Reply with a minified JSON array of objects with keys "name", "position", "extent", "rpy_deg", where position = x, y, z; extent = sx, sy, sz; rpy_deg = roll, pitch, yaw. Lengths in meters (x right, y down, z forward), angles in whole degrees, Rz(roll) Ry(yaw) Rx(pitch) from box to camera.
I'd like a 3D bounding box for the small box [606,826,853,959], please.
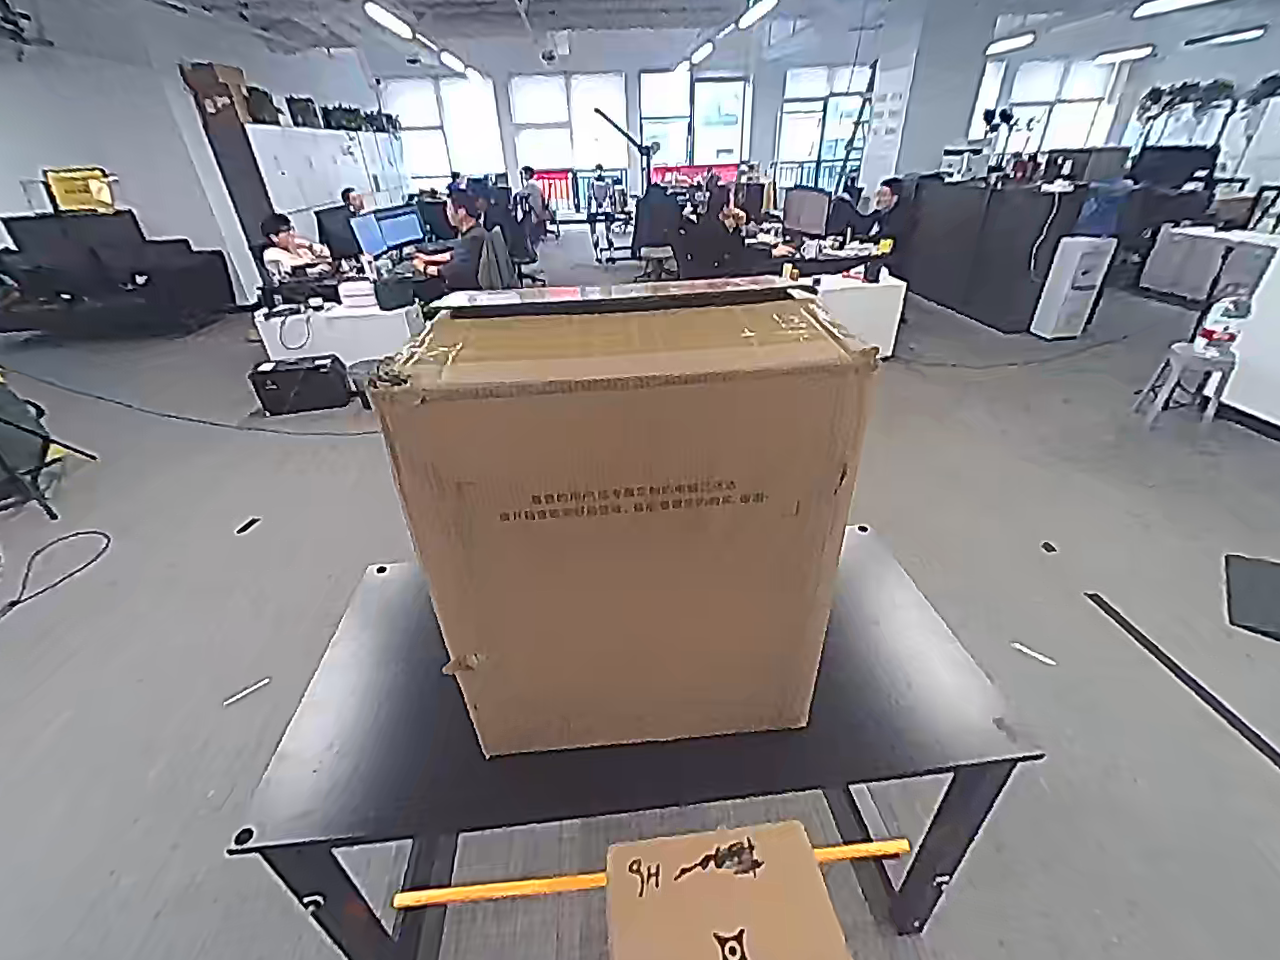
[{"name":"small box","position":[0.064,0.399,0.404],"extent":[0.168,0.176,0.179],"rpy_deg":[-3,34,-7]}]
